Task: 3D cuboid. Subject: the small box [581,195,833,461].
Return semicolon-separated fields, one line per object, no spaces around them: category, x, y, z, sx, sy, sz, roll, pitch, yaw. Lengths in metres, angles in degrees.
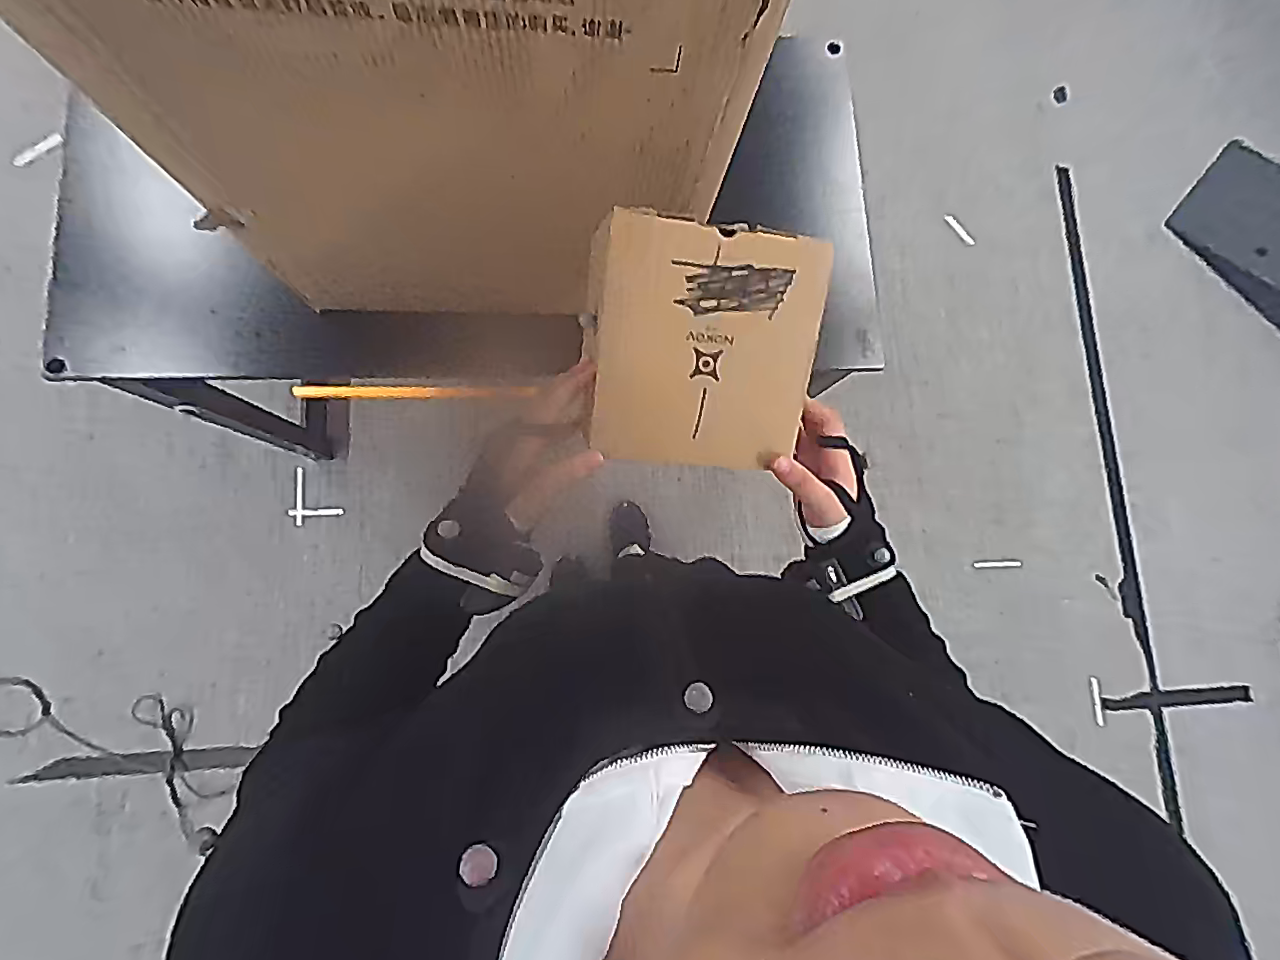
small box;0.039;-0.124;0.472;0.168;0.176;0.179;3;106;-10
